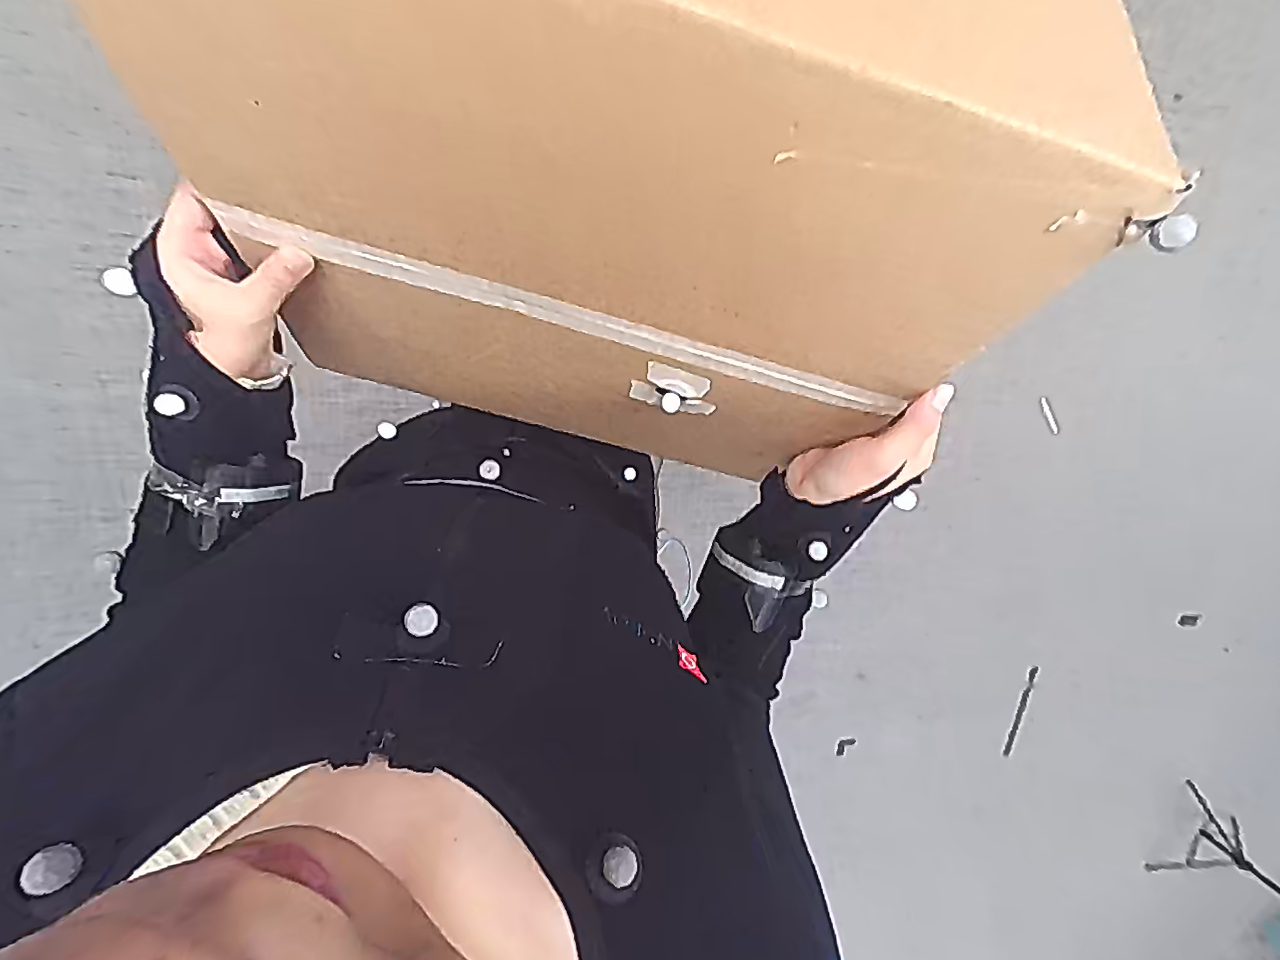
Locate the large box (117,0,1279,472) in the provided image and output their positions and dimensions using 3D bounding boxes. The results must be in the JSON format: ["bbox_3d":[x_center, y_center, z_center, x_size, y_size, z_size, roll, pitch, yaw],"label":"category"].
[{"bbox_3d":[0.008,-0.241,0.344,0.408,0.320,0.320,13,67,-7],"label":"large box"}]
